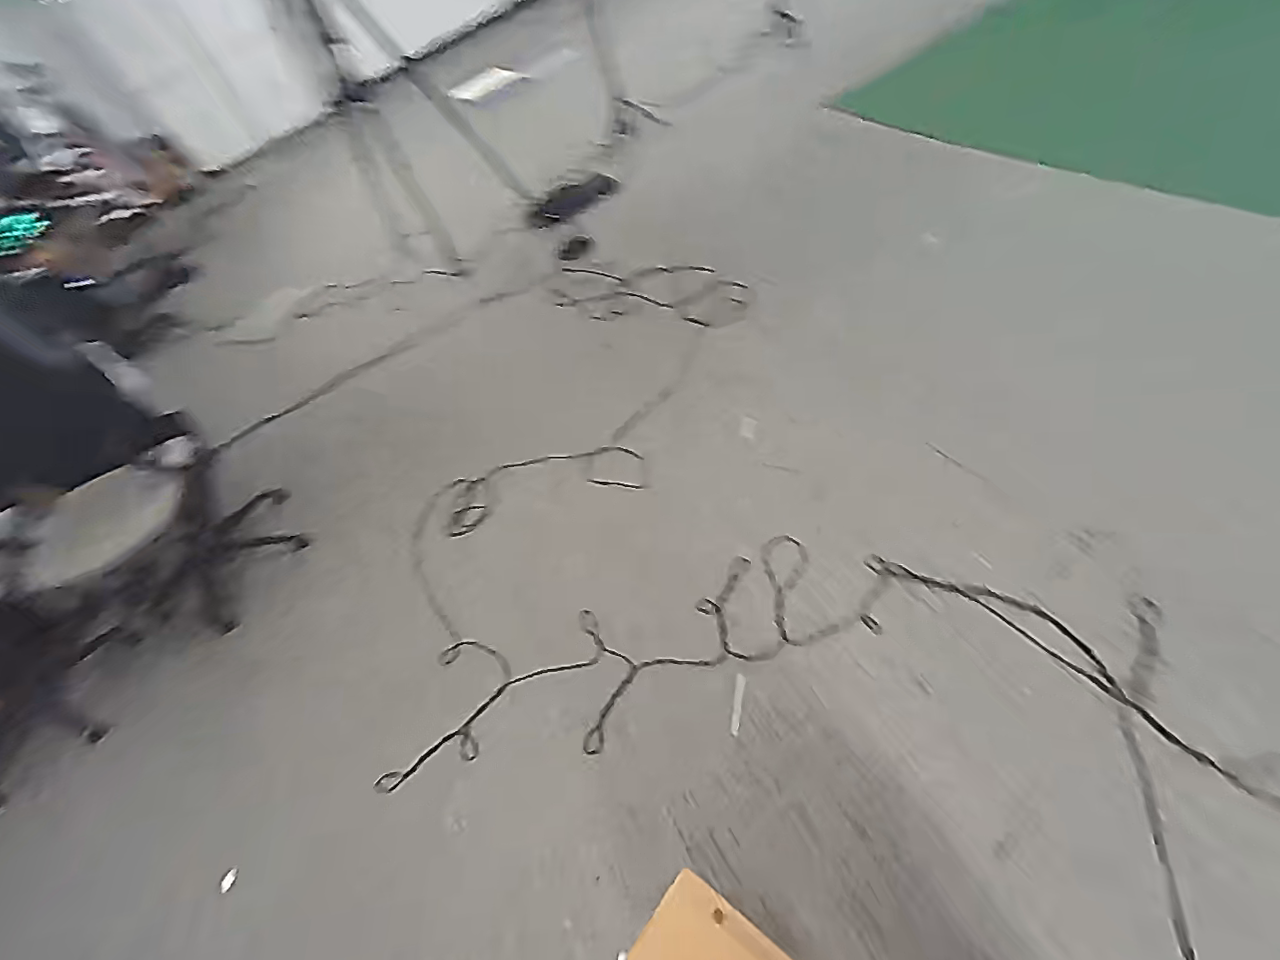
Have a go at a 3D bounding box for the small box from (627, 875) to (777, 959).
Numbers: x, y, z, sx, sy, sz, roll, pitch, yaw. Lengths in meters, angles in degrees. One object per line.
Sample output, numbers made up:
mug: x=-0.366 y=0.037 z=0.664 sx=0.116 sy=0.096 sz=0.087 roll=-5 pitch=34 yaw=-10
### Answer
small box: x=0.058 y=0.608 z=0.615 sx=0.168 sy=0.179 sz=0.176 roll=27 pitch=34 yaw=28
